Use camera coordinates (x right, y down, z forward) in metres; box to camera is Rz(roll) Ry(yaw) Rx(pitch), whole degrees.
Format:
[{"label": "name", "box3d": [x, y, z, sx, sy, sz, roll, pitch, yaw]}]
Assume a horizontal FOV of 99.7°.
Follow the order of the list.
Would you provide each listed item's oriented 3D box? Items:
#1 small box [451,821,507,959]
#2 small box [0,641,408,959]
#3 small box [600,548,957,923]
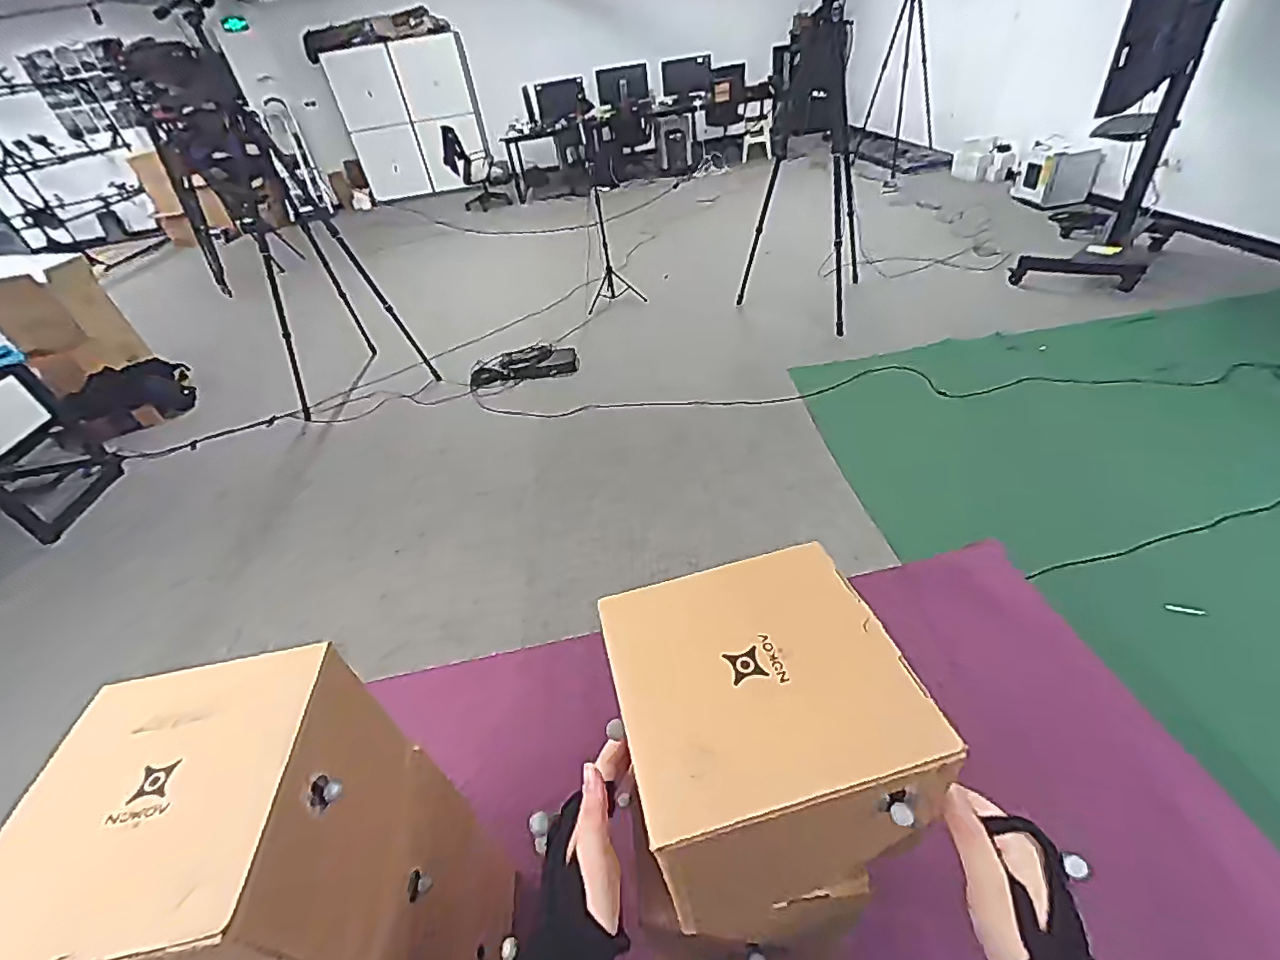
[{"label": "small box", "box3d": [-0.248, 0.498, 0.583, 0.168, 0.176, 0.179, -8, 40, -1]}, {"label": "small box", "box3d": [-0.284, 0.245, 0.378, 0.168, 0.176, 0.179, -9, 39, -2]}, {"label": "small box", "box3d": [0.079, 0.180, 0.387, 0.179, 0.176, 0.168, -12, 39, -6]}]
